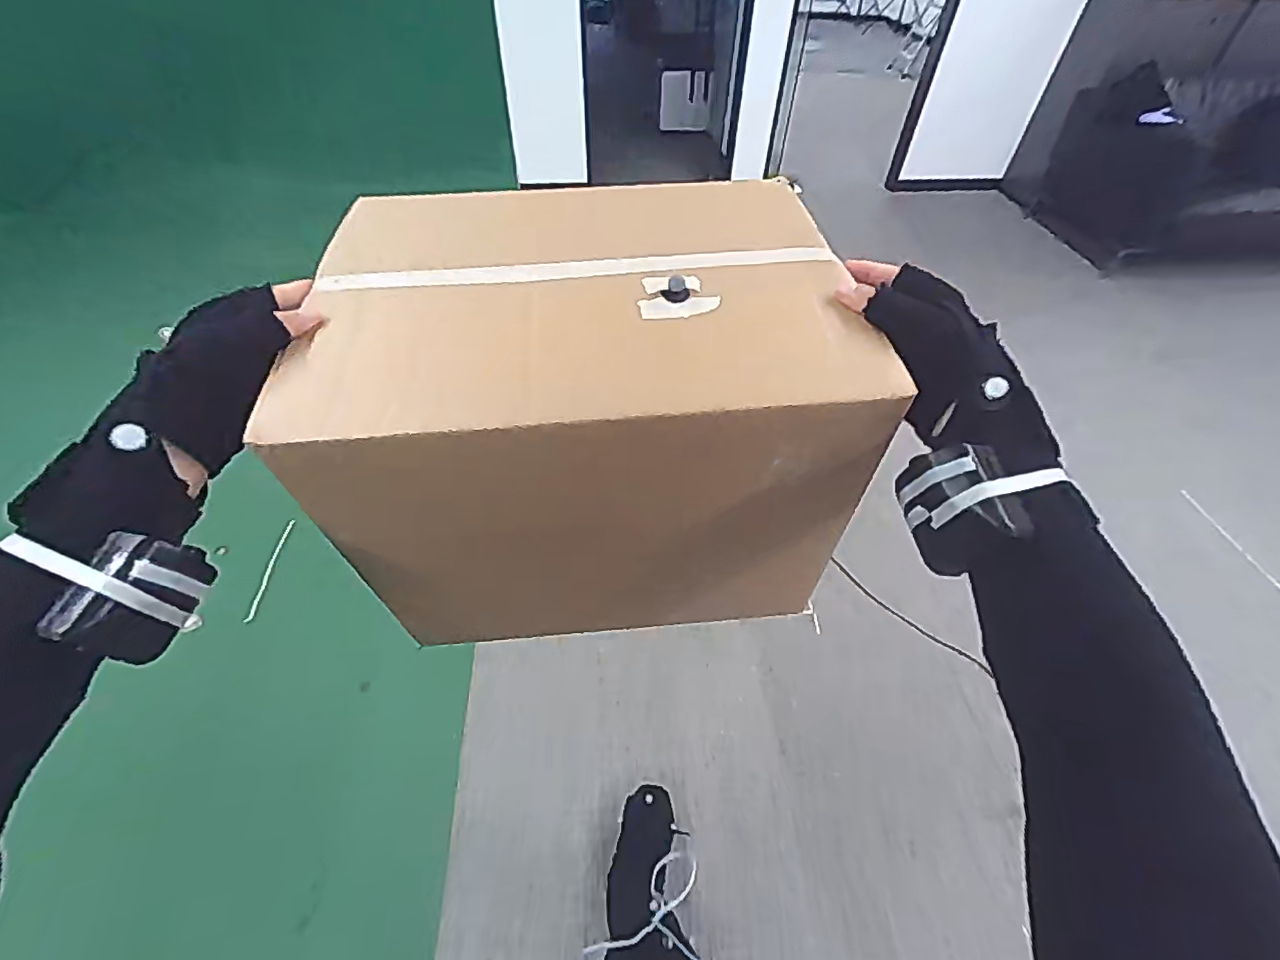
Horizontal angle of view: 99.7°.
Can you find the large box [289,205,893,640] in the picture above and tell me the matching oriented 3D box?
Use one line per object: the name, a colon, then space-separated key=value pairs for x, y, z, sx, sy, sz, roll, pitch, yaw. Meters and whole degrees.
large box: x=-0.041 y=-0.056 z=0.557 sx=0.408 sy=0.320 sz=0.320 roll=-4 pitch=51 yaw=-4
